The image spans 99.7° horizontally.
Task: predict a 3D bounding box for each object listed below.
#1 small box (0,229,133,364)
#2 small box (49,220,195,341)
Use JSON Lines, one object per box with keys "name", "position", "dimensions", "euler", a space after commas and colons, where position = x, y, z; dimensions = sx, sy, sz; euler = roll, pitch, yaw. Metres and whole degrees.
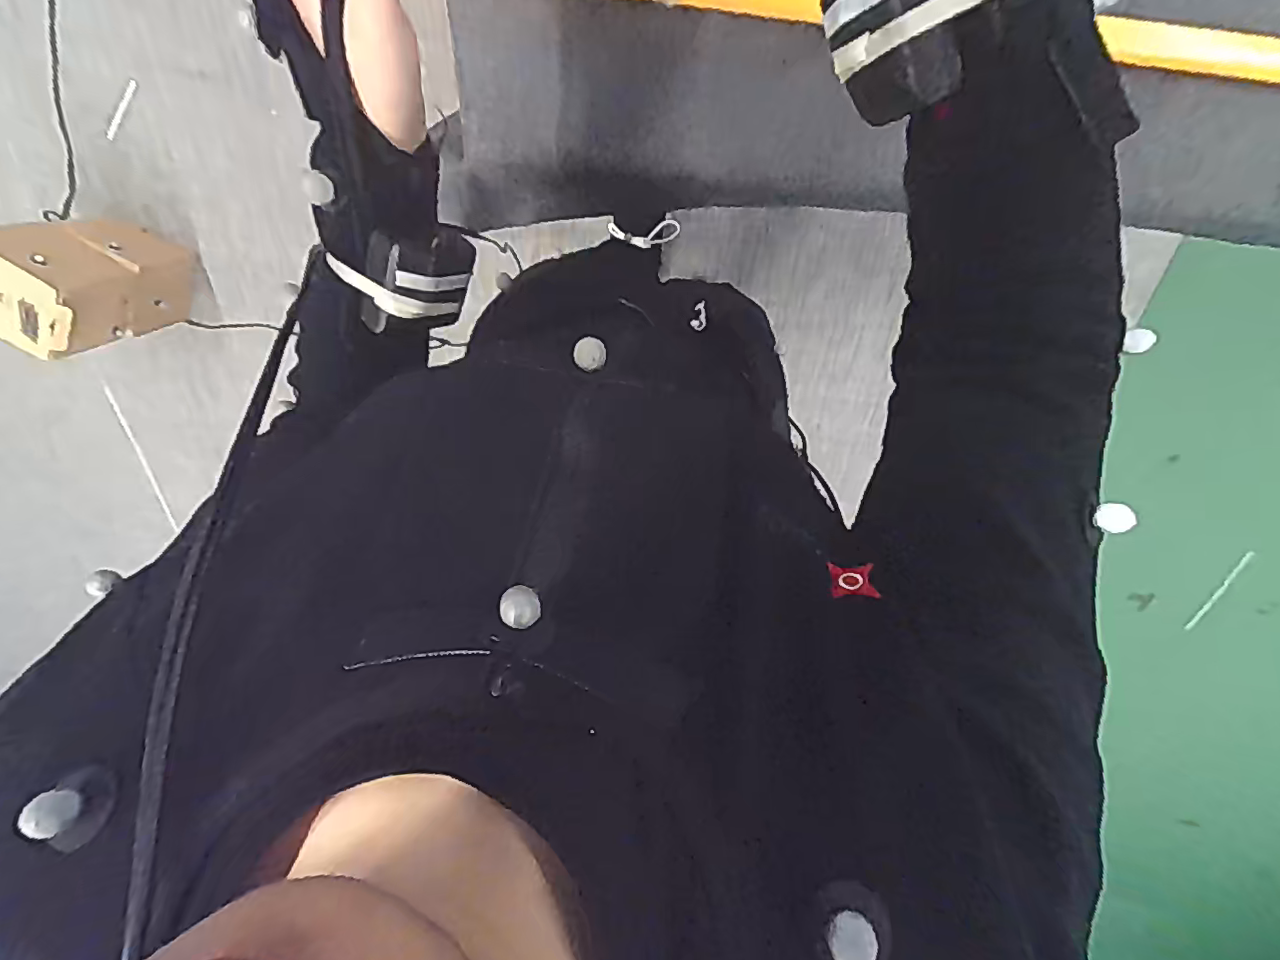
{"name": "small box", "position": [-1.142, -0.360, 1.039], "dimensions": [0.179, 0.176, 0.168], "euler": [34, 115, -15]}
{"name": "small box", "position": [-1.125, -0.440, 1.182], "dimensions": [0.168, 0.176, 0.179], "euler": [28, 117, -13]}
